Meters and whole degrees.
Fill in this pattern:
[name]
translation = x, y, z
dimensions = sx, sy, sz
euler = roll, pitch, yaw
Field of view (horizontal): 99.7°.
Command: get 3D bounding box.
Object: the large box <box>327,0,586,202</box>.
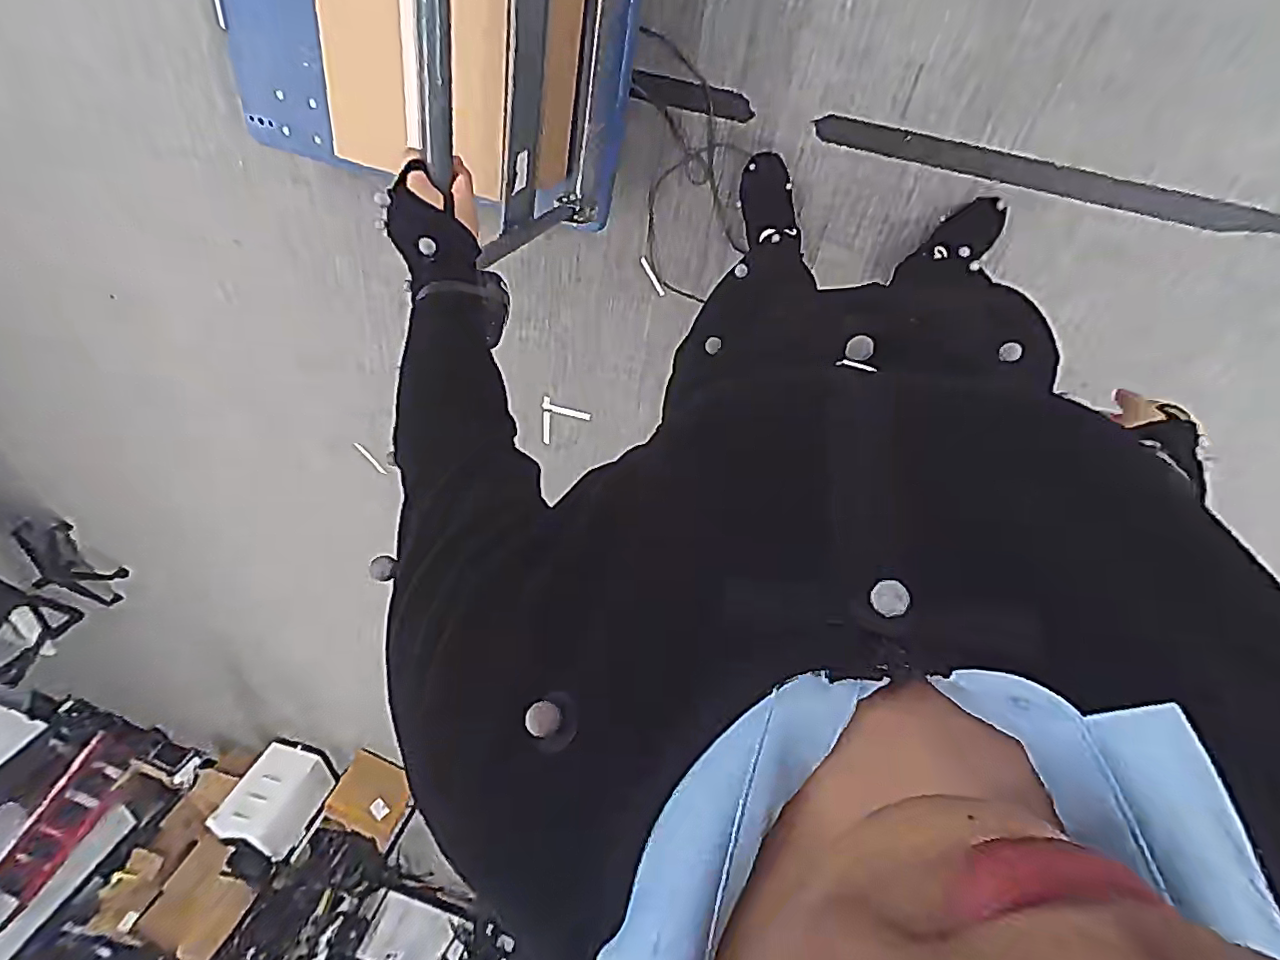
[large box]
translation = -0.296, -0.747, 0.934
dimensions = 0.320, 0.320, 0.408
euler = 17, 126, 5
